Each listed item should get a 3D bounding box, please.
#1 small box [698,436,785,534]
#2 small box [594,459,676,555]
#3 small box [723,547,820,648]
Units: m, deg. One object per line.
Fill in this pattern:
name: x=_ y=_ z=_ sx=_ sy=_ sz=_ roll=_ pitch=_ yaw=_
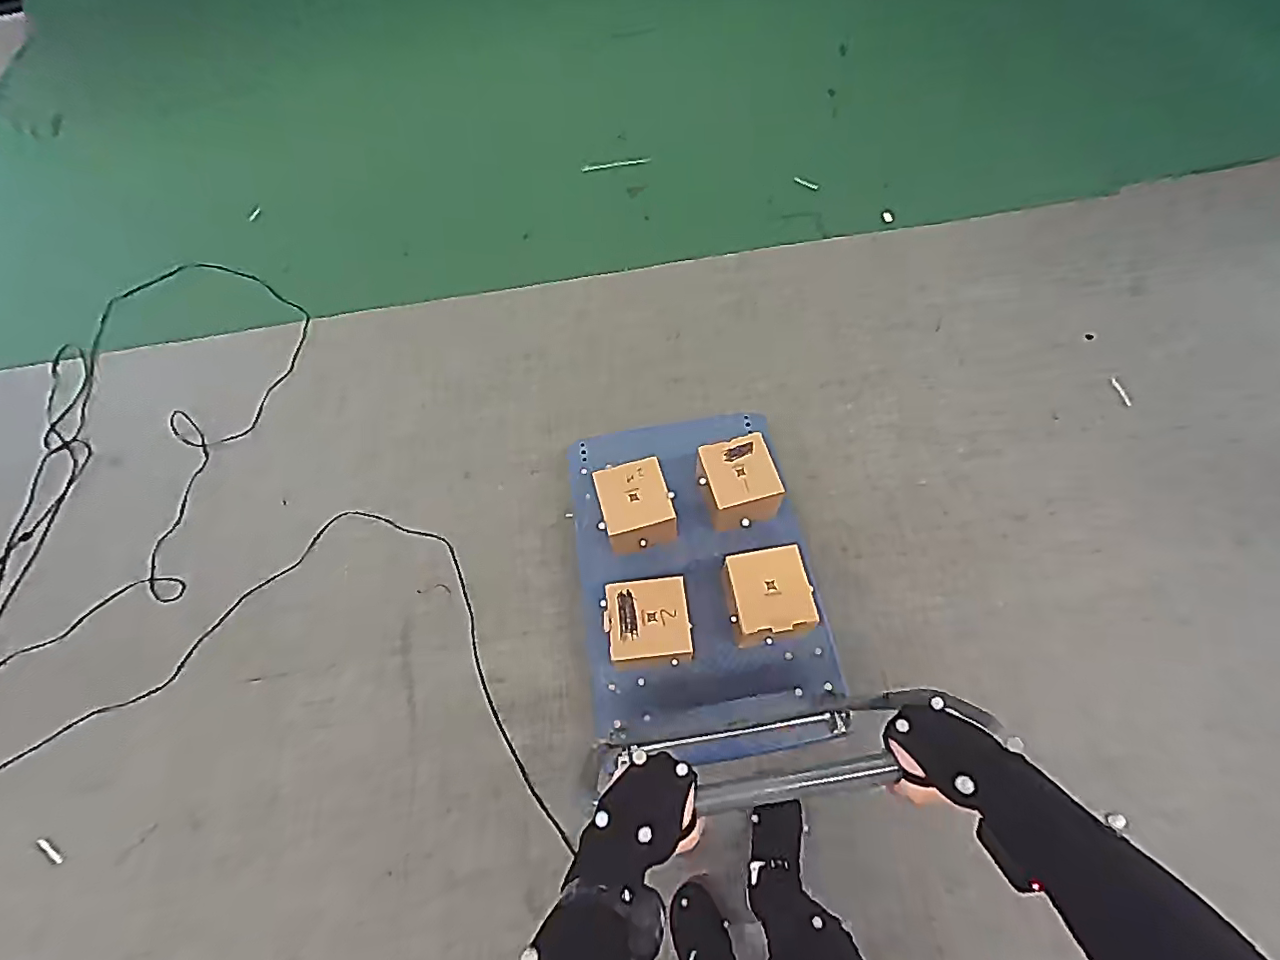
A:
small box: x=0.250 y=0.017 z=1.382 sx=0.168 sy=0.176 sz=0.179 roll=-15 pitch=64 yaw=-3
small box: x=-0.009 y=0.077 z=1.368 sx=0.168 sy=0.176 sz=0.179 roll=-15 pitch=63 yaw=-5
small box: x=0.292 y=0.275 z=1.250 sx=0.168 sy=0.176 sz=0.179 roll=-9 pitch=63 yaw=-1
